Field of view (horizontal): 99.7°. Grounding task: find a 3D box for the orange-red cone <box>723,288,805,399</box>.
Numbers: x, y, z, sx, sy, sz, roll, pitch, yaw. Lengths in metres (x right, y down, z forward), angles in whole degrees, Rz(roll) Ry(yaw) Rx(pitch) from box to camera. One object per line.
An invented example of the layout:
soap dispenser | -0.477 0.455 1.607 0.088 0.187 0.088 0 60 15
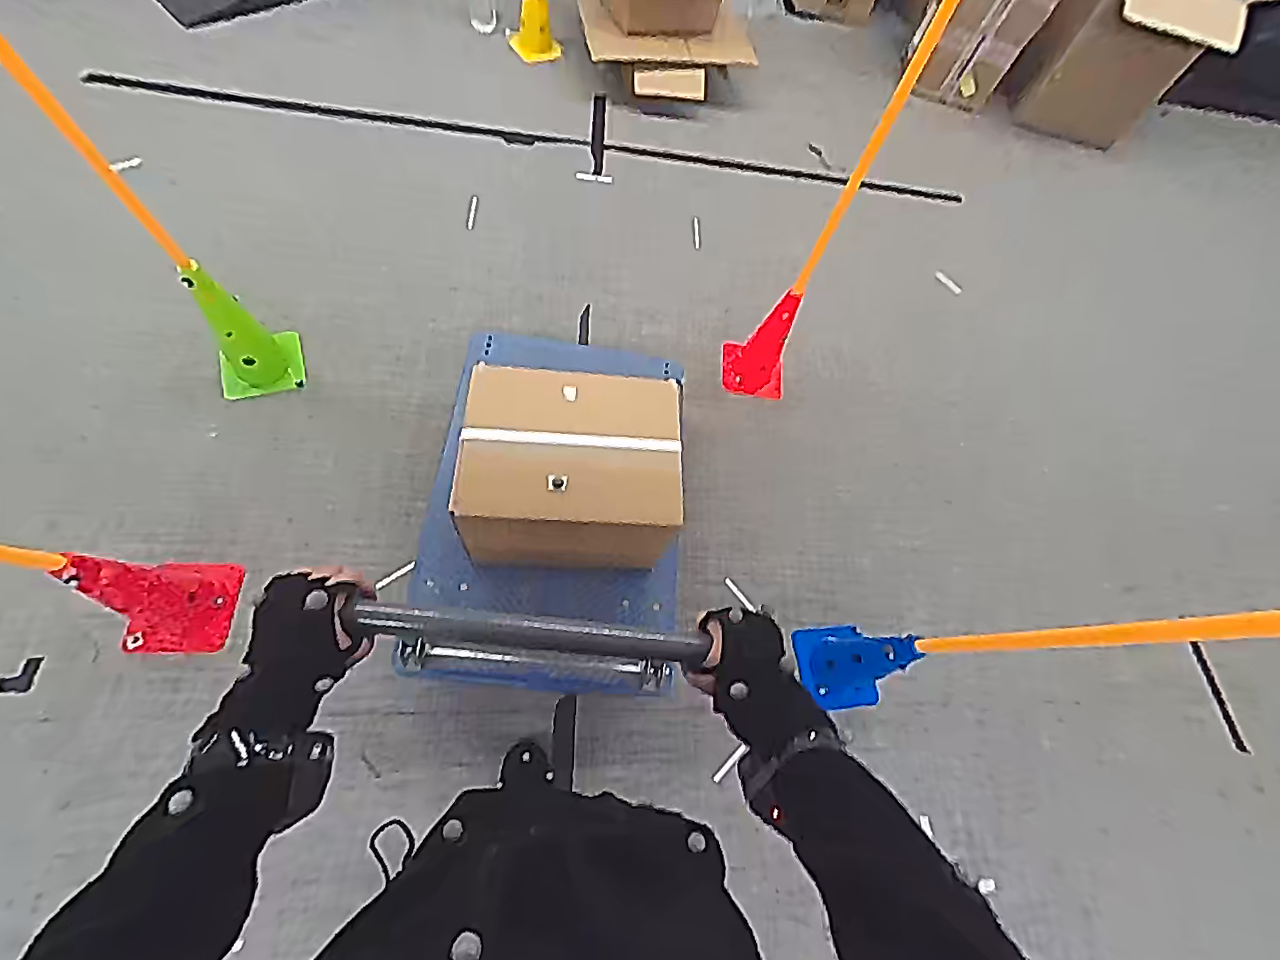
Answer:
orange-red cone | 0.398 -0.427 1.600 0.199 0.360 0.198 10 64 -7

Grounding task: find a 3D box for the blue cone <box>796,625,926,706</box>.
blue cone | 0.532 0.401 1.244 0.193 0.380 0.192 0 64 -11
